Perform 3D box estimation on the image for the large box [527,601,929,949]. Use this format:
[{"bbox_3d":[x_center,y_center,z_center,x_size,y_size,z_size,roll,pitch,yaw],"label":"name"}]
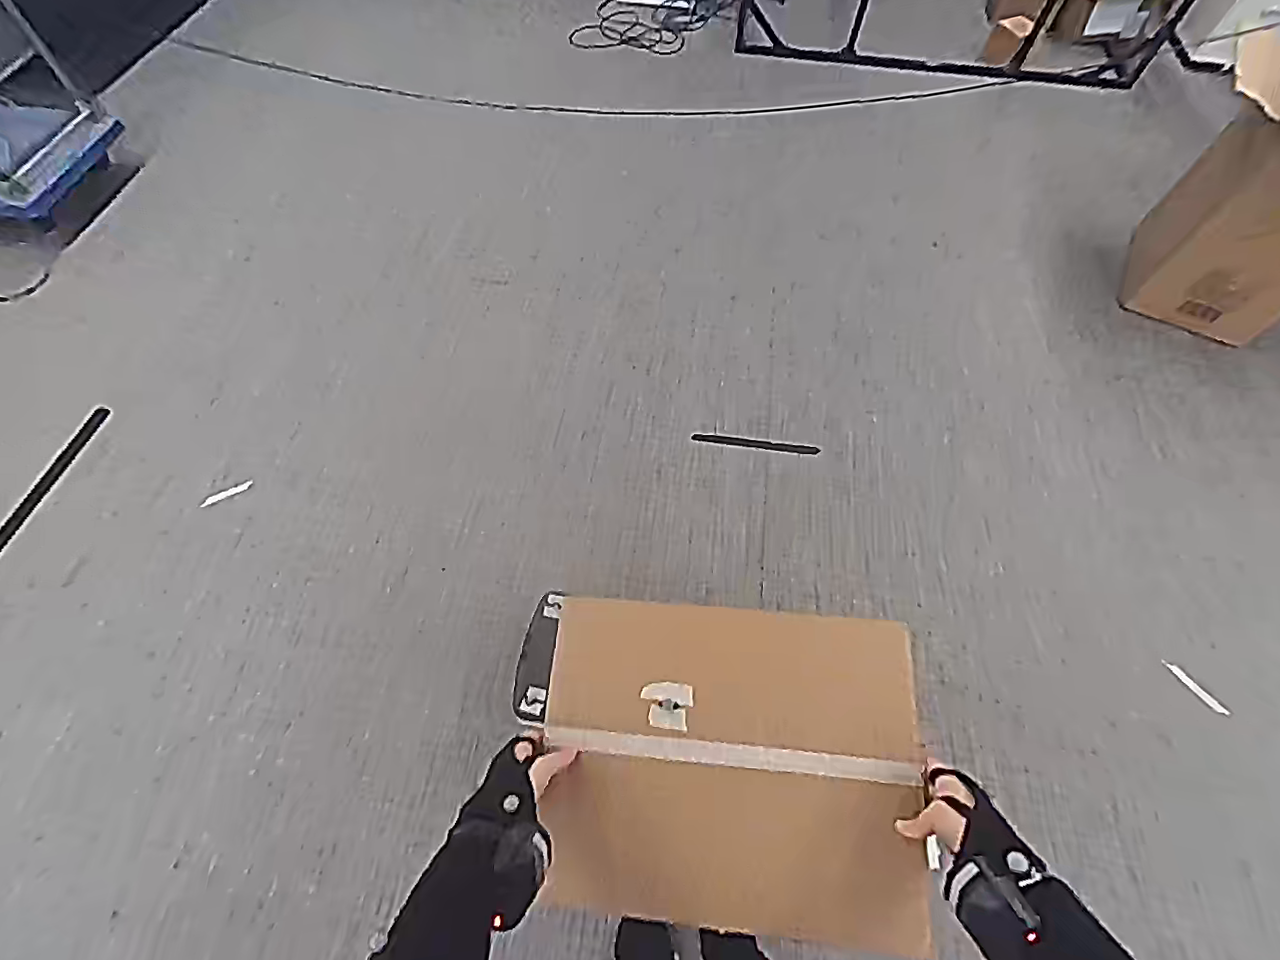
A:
[{"bbox_3d":[0.105,0.349,0.724,0.408,0.320,0.320,3,69,7],"label":"large box"}]
